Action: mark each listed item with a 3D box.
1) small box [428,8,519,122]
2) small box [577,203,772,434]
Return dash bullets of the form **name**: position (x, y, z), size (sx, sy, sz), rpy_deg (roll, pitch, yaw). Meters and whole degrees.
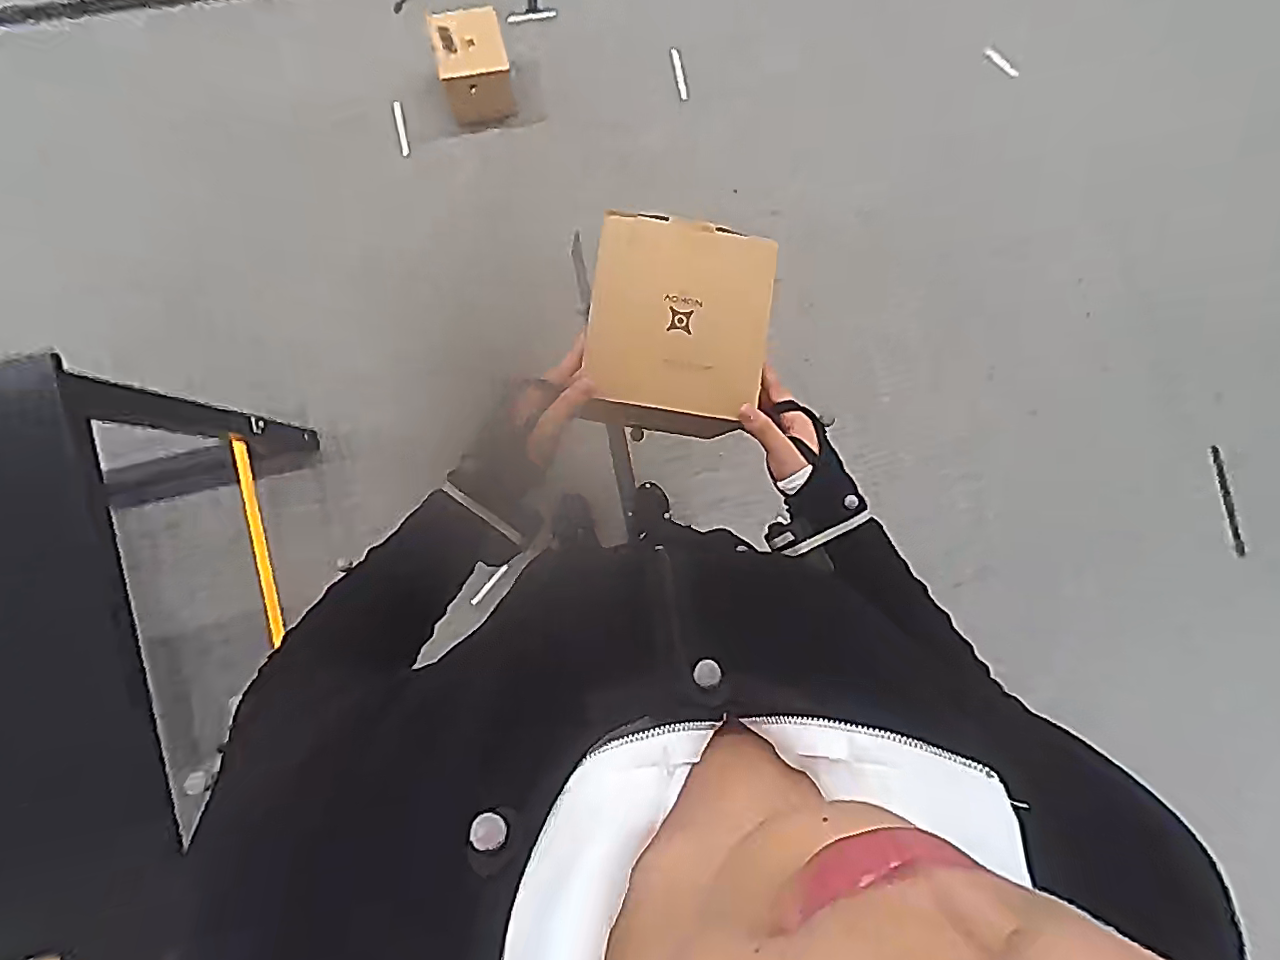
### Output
- **small box**: position (-0.431, -1.083, 1.425), size (0.179, 0.176, 0.168), rpy_deg (-14, 90, -6)
- **small box**: position (0.024, -0.152, 0.570), size (0.168, 0.176, 0.179), rpy_deg (7, 89, -6)
